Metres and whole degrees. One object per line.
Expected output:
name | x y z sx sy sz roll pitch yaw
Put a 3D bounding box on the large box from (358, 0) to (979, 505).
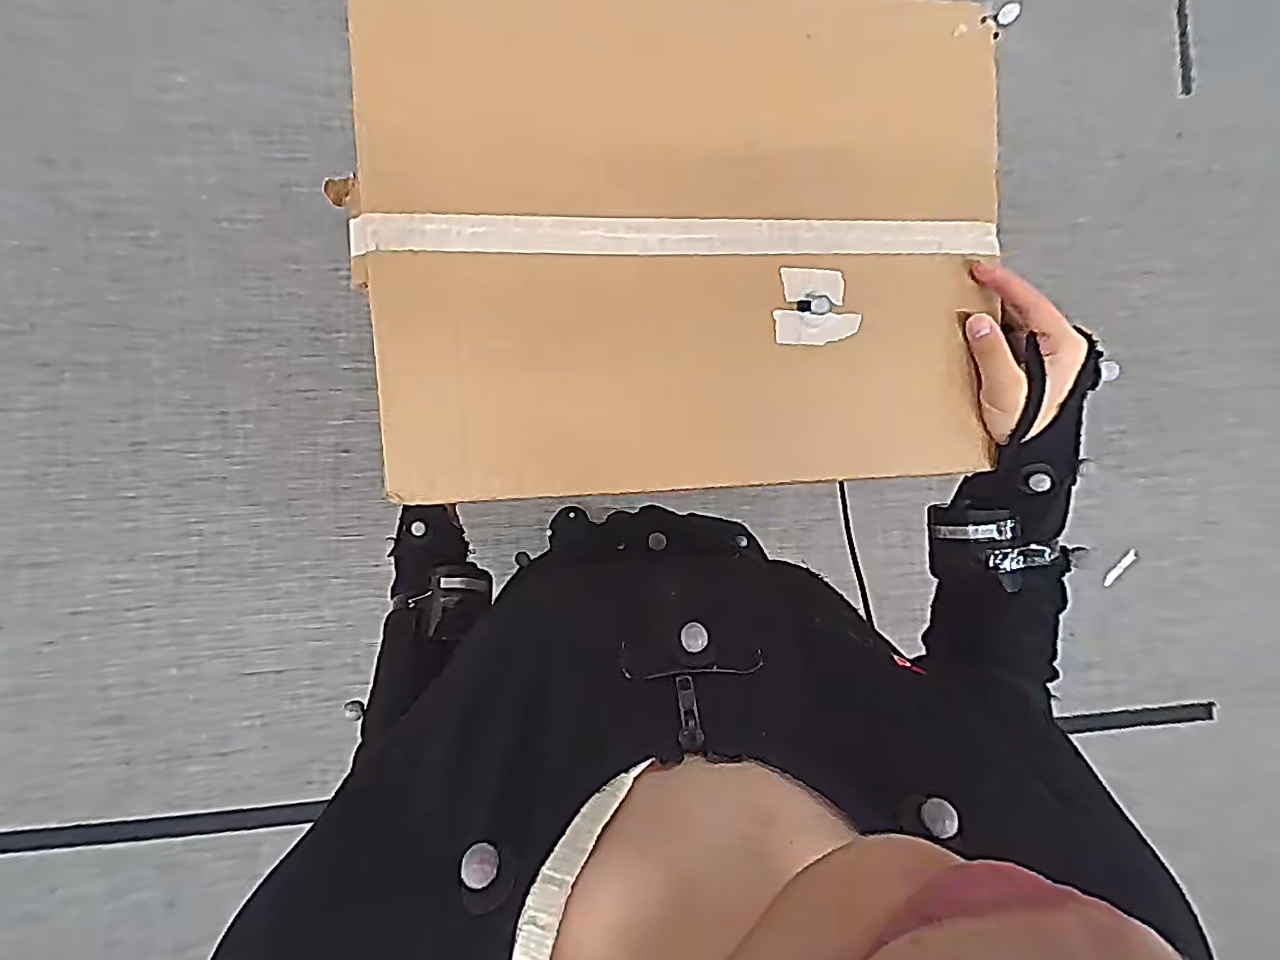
large box | 0.015 -0.159 0.497 0.408 0.320 0.320 -4 94 -10
